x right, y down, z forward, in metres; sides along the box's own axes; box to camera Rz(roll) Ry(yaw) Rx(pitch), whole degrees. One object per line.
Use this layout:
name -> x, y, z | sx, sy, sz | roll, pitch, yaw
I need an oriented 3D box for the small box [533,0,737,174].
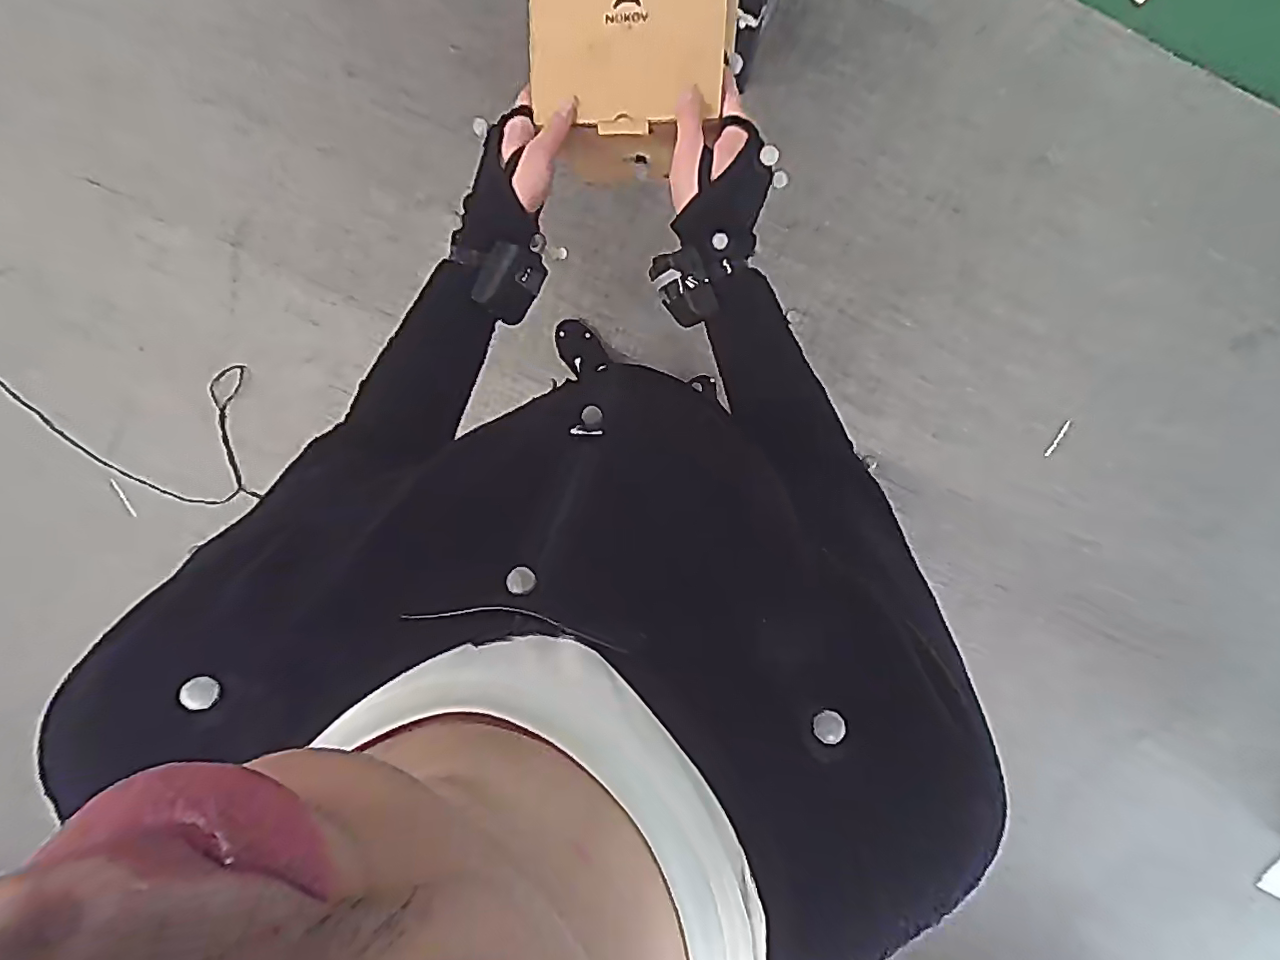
small box -> 0.006, -0.410, 0.519 | 0.168, 0.176, 0.179 | 2, 104, 10
